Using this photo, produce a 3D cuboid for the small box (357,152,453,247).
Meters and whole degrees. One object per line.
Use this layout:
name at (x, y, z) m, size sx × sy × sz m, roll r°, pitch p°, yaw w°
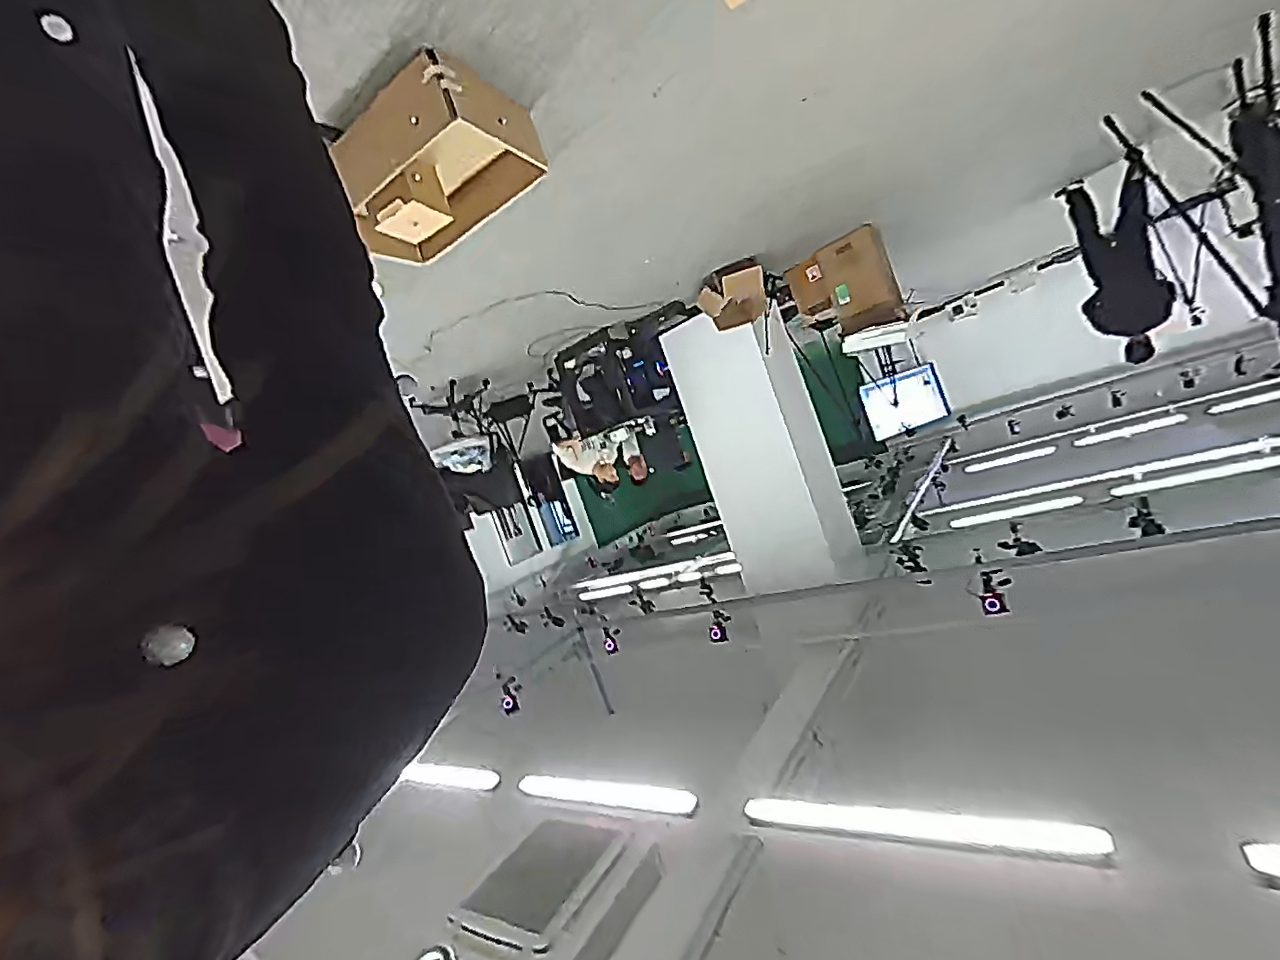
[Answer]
small box at (-0.700, -0.833, 1.607) m, size 0.168 × 0.176 × 0.179 m, roll -20°, pitch 180°, yaw 21°
